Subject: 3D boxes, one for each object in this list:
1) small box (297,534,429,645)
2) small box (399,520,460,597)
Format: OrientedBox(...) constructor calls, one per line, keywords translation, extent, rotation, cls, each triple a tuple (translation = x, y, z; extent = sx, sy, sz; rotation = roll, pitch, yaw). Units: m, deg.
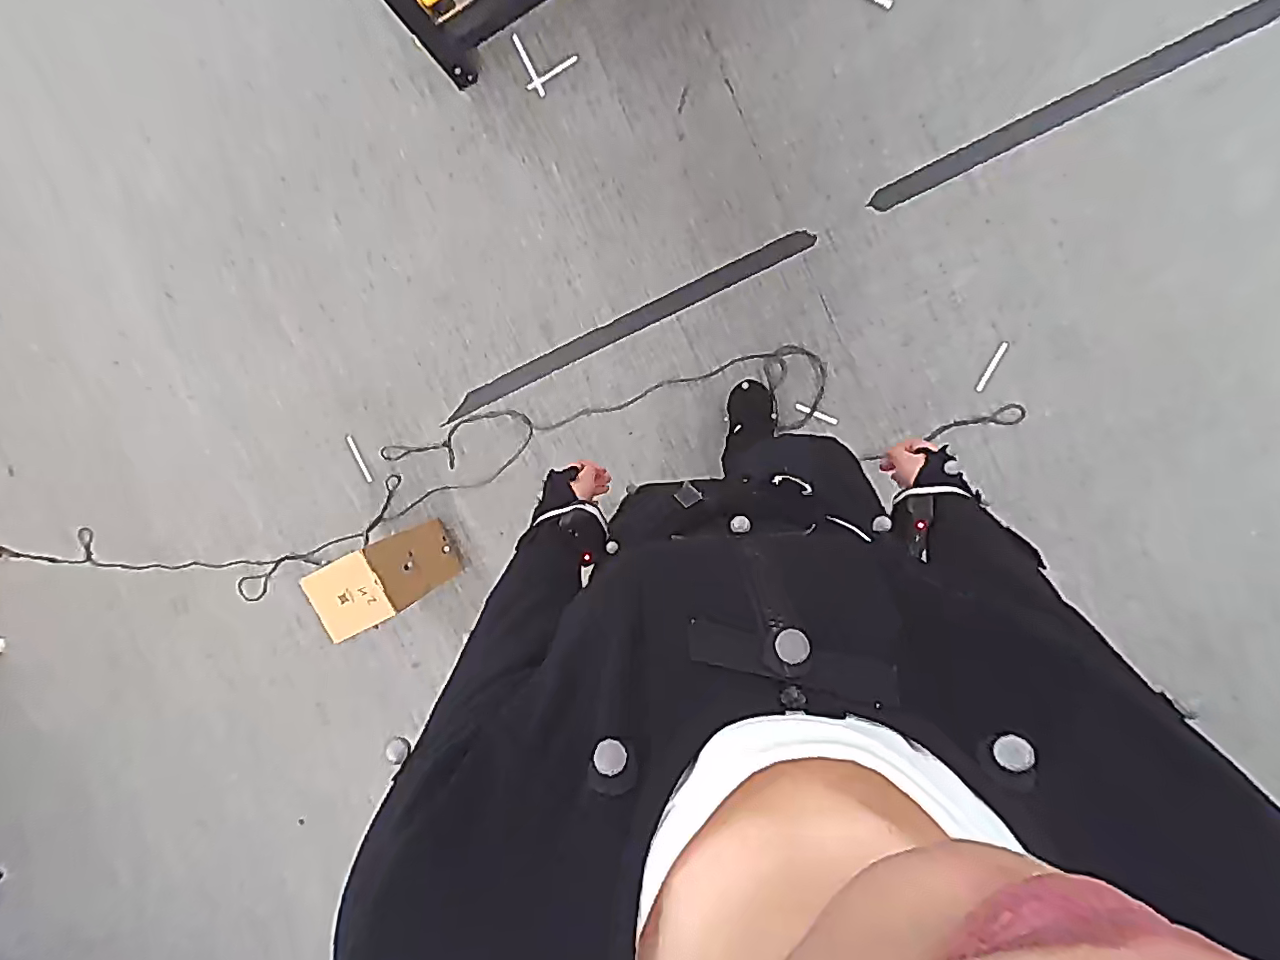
OrientedBox(translation=(-0.627, 0.245, 1.246), extent=(0.179, 0.176, 0.168), rotation=(-26, 94, 10), cls="small box")
OrientedBox(translation=(-0.606, 0.223, 1.408), extent=(0.179, 0.176, 0.168), rotation=(-25, 94, 9), cls="small box")
